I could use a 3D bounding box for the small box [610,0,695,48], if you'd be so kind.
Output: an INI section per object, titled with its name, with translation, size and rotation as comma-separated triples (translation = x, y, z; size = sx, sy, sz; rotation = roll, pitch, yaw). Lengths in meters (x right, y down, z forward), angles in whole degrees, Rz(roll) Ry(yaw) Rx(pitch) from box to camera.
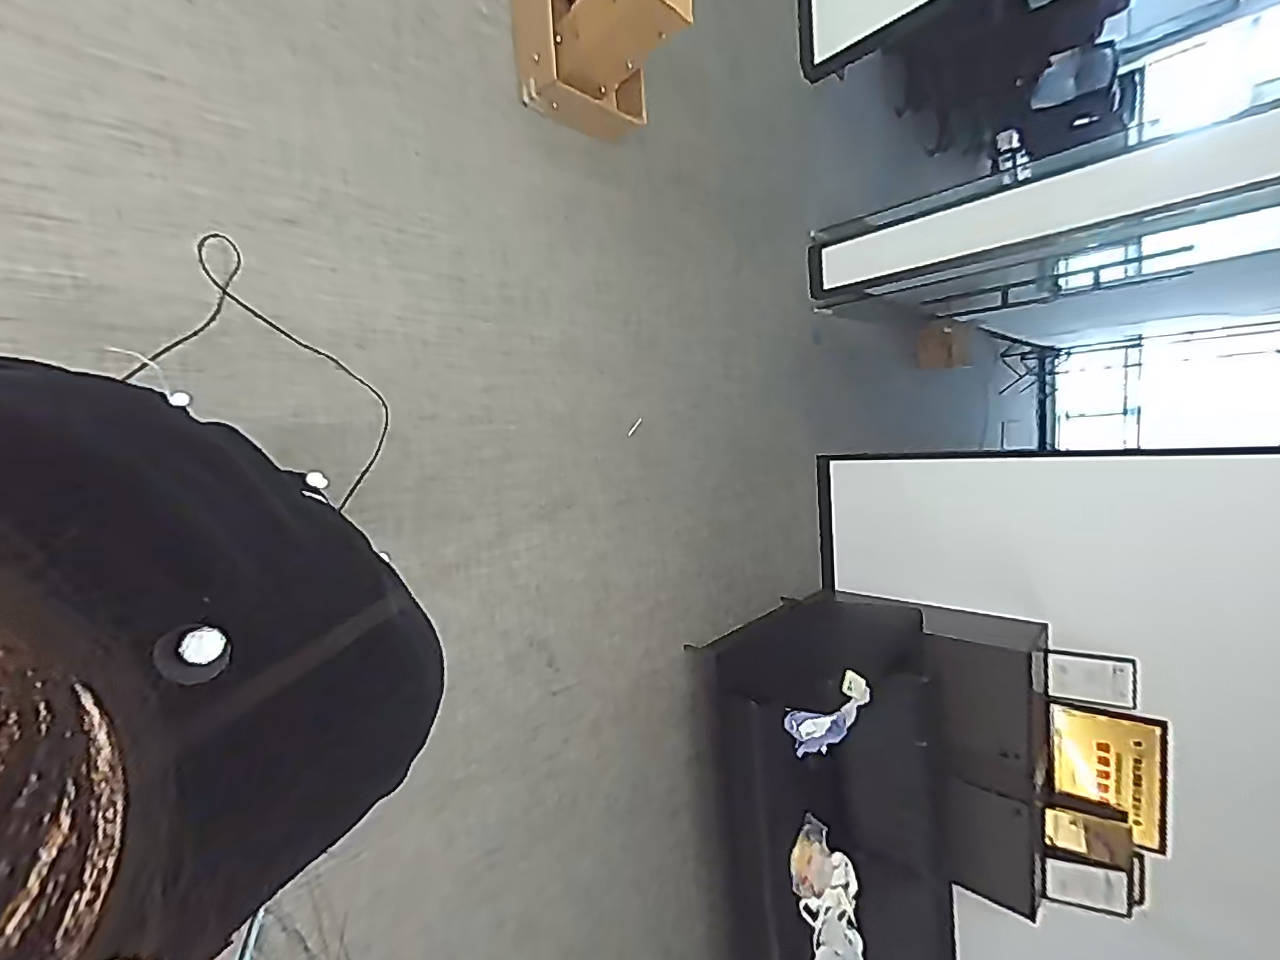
[small box]
translation = 0.035, -1.369, 1.519
size = 0.179, 0.176, 0.168
rotation = -5, 94, -44
